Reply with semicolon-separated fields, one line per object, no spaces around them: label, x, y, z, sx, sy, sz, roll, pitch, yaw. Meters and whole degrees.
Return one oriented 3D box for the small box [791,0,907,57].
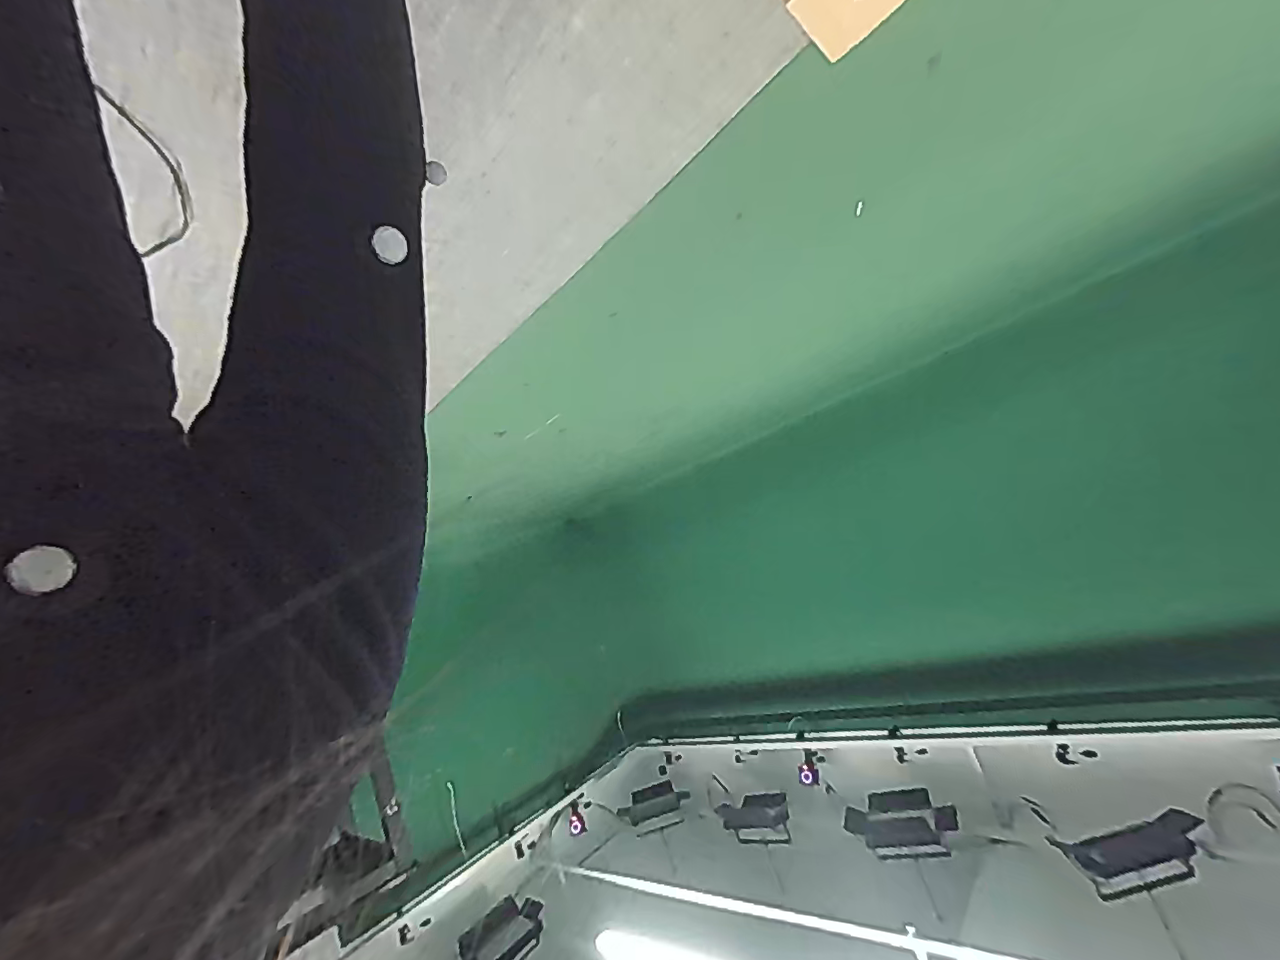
small box;0.283;-0.736;0.716;0.179;0.176;0.168;-25;171;40
